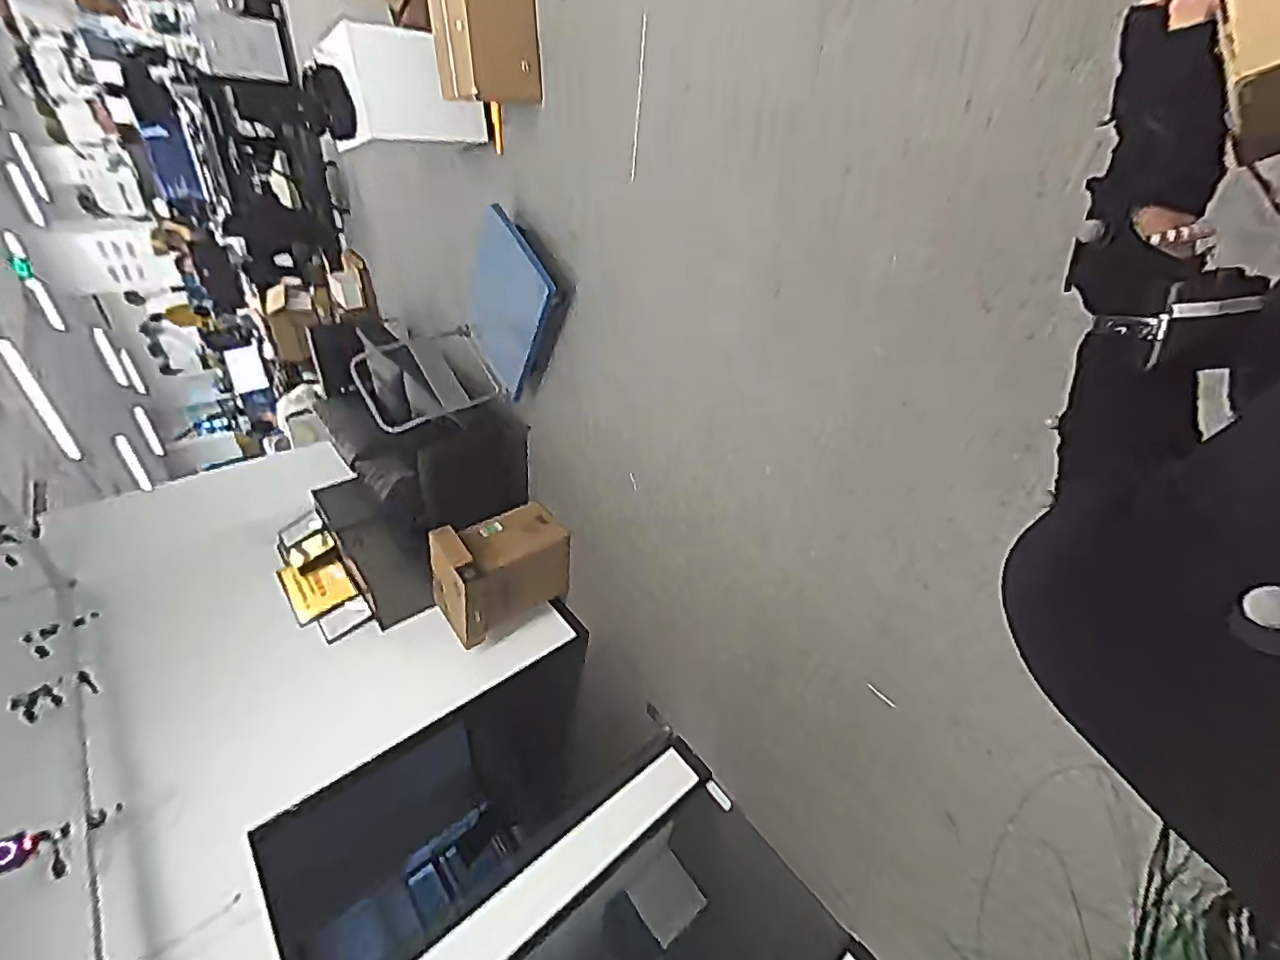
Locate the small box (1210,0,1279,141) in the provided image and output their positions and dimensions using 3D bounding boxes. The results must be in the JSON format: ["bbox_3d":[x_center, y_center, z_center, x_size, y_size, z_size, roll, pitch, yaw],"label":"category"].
[{"bbox_3d":[0.399,-0.304,0.259,0.179,0.176,0.168,-7,92,48],"label":"small box"}]
